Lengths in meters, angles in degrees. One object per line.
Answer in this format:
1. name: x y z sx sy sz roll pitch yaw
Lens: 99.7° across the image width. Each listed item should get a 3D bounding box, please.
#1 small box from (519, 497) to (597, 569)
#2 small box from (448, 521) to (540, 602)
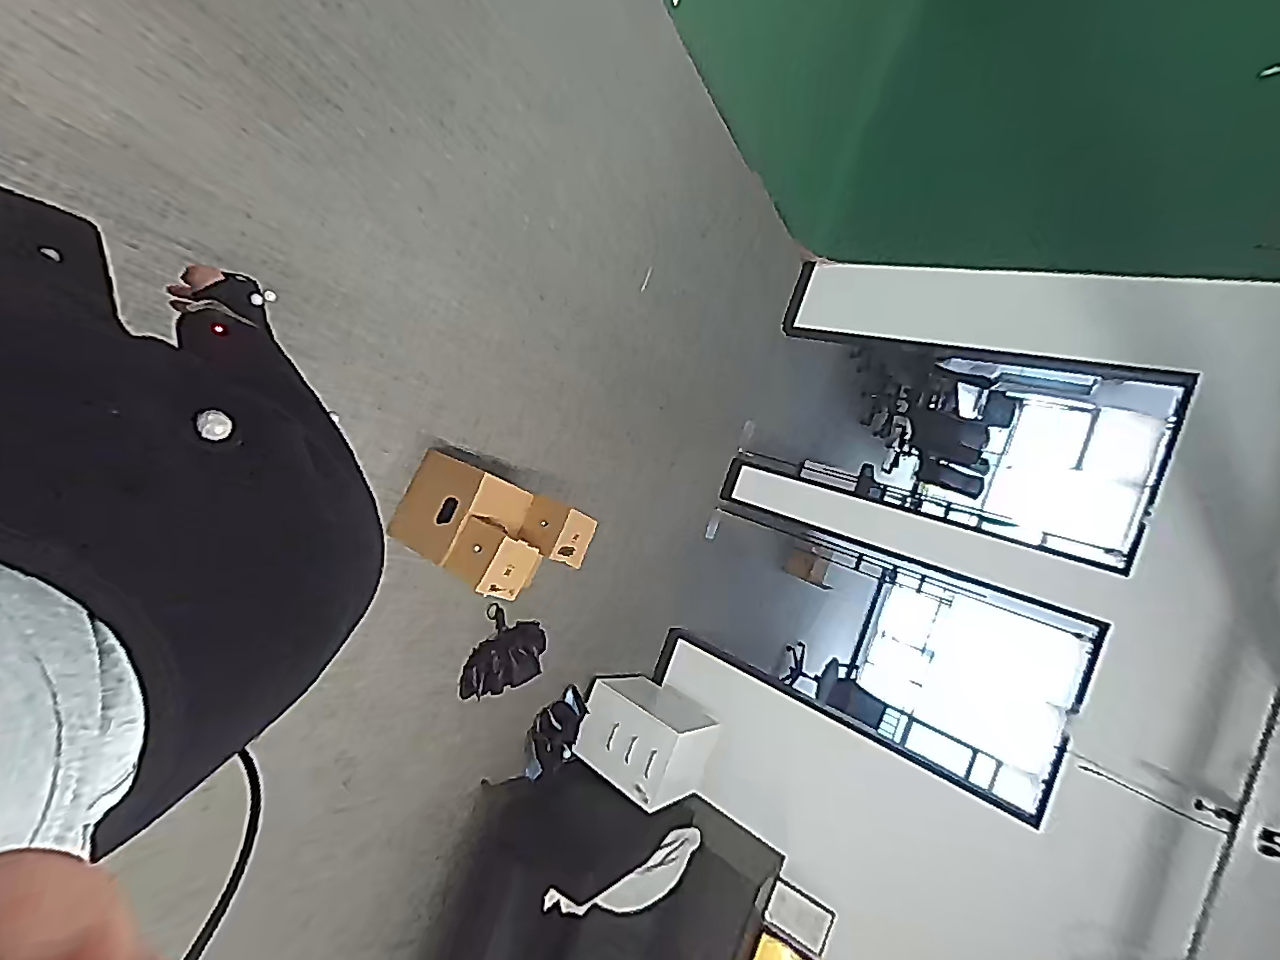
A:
1. small box: -0.278 0.175 1.810 0.168 0.176 0.179 37 71 -55
2. small box: -0.437 0.240 1.611 0.168 0.176 0.179 37 75 -56
